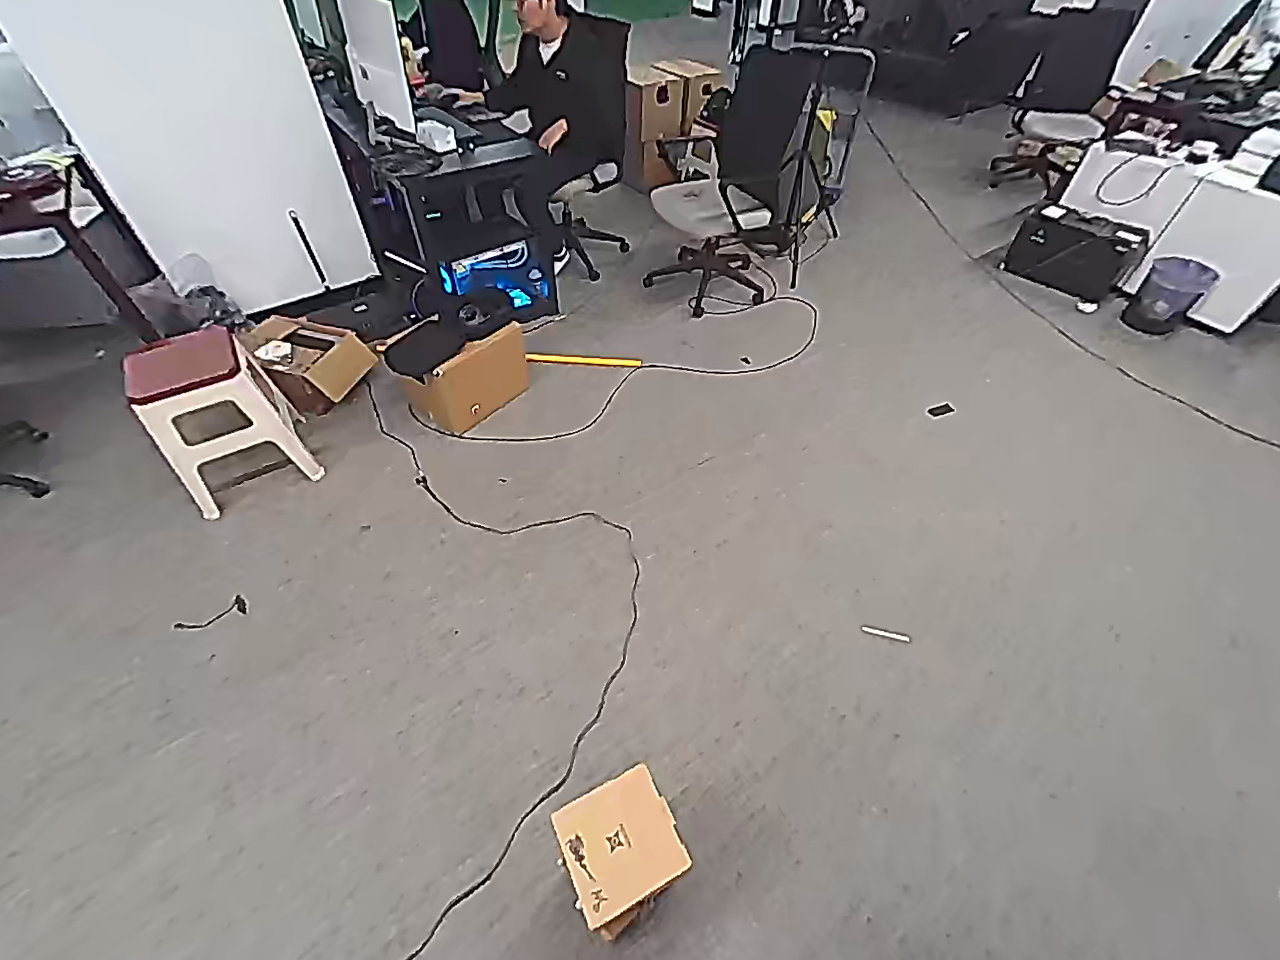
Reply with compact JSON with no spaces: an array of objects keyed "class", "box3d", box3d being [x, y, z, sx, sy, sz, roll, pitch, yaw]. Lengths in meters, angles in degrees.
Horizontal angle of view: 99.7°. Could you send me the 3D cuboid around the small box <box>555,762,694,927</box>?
[{"class":"small box","box3d":[-0.031,0.616,0.916,0.179,0.176,0.168,-20,53,-19]}]
